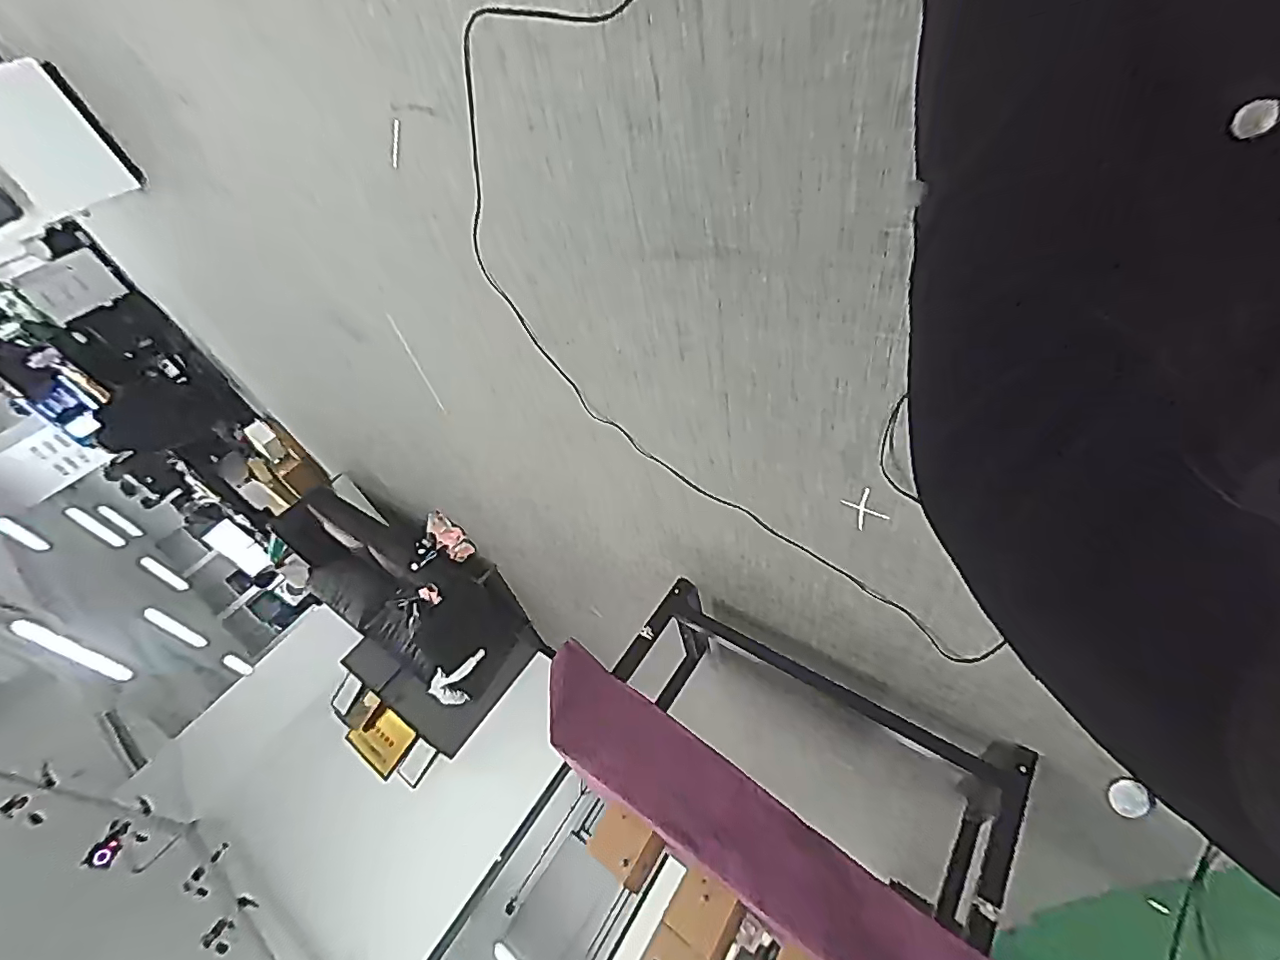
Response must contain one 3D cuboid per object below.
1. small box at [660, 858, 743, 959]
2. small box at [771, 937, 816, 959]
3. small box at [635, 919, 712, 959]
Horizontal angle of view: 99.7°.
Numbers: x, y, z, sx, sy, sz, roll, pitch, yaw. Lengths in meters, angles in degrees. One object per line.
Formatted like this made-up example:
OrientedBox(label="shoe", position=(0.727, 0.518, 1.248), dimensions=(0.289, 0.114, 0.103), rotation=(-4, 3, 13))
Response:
OrientedBox(label="small box", position=(0.189, 1.271, 1.600), dimensions=(0.168, 0.176, 0.179), rotation=(17, 143, 36))
OrientedBox(label="small box", position=(0.423, 1.363, 1.440), dimensions=(0.179, 0.176, 0.168), rotation=(21, 146, 33))
OrientedBox(label="small box", position=(0.095, 1.378, 1.519), dimensions=(0.179, 0.176, 0.168), rotation=(18, 145, 35))
